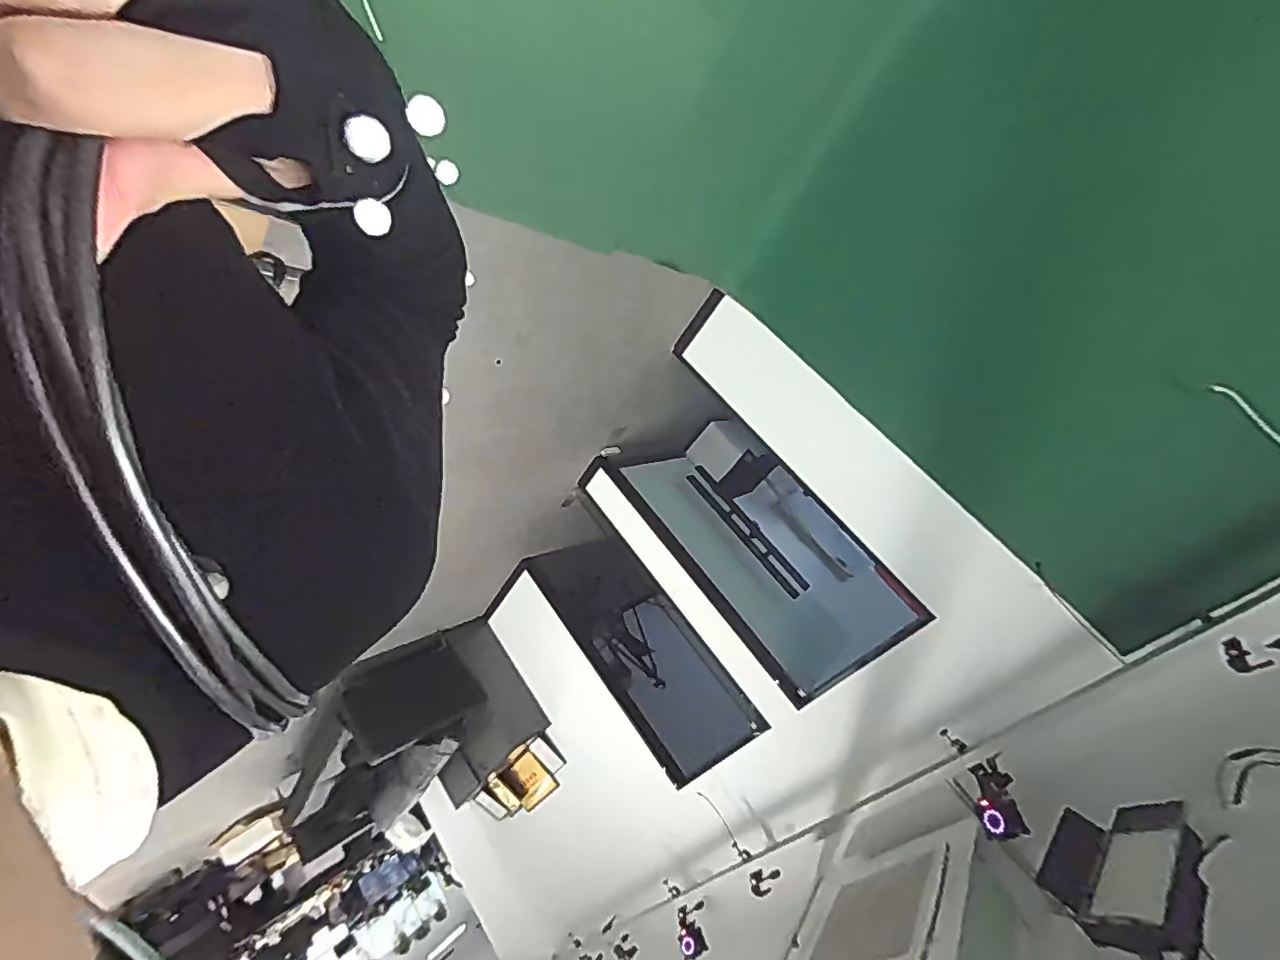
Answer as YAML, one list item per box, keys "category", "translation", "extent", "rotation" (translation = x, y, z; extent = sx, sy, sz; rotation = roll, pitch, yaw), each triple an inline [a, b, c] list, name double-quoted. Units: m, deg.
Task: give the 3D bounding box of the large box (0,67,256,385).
- category: "large box"
  translation: [-0.980, -0.432, 0.992]
  extent: [0.408, 0.320, 0.320]
  rotation: [-50, 159, 27]
